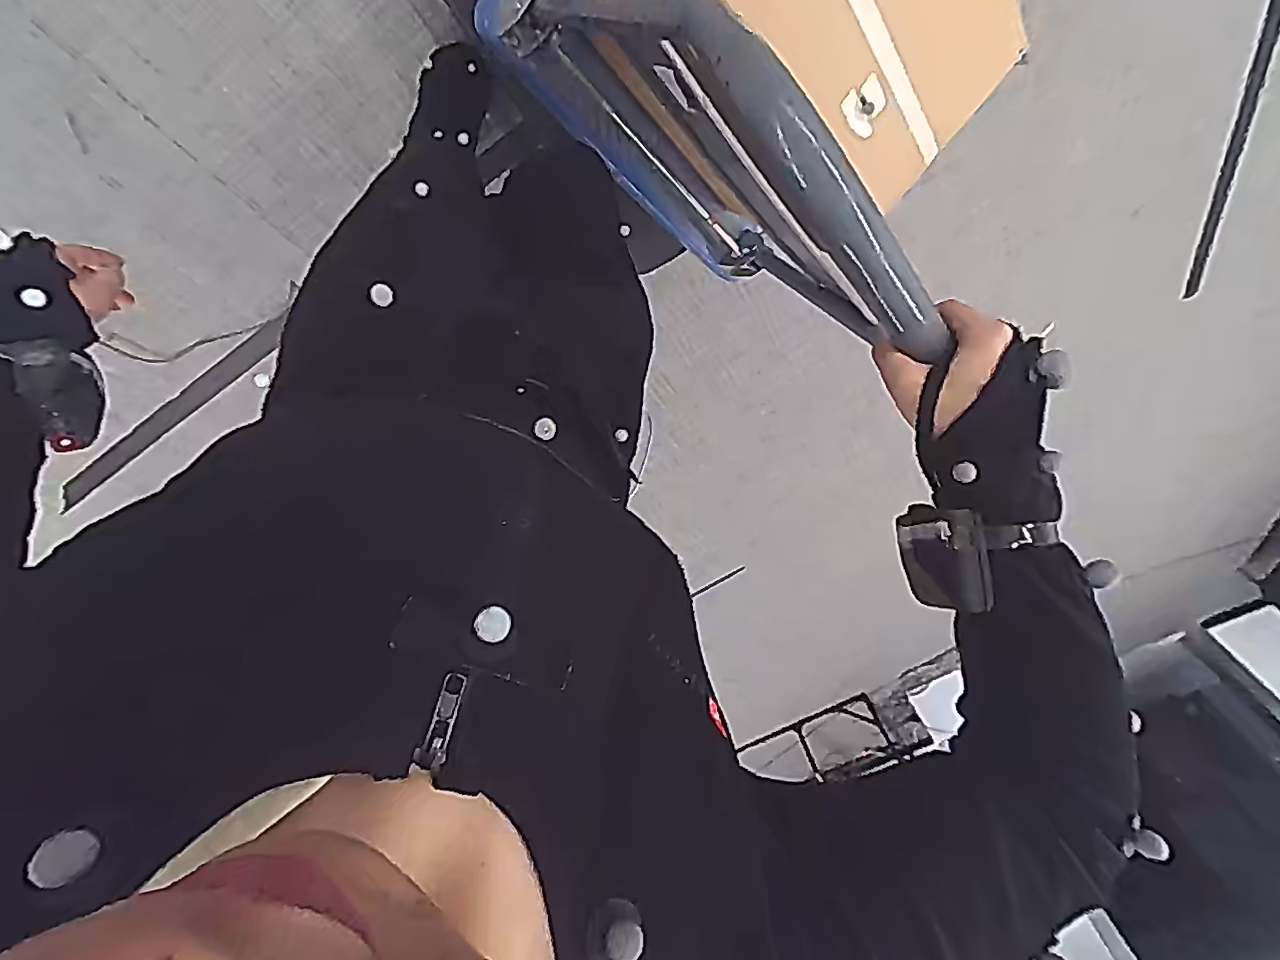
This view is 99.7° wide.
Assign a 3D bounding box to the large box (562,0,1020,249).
[{"bbox_3d":[0.178,-0.578,0.678,0.408,0.320,0.320,28,110,-41],"label":"large box"}]
